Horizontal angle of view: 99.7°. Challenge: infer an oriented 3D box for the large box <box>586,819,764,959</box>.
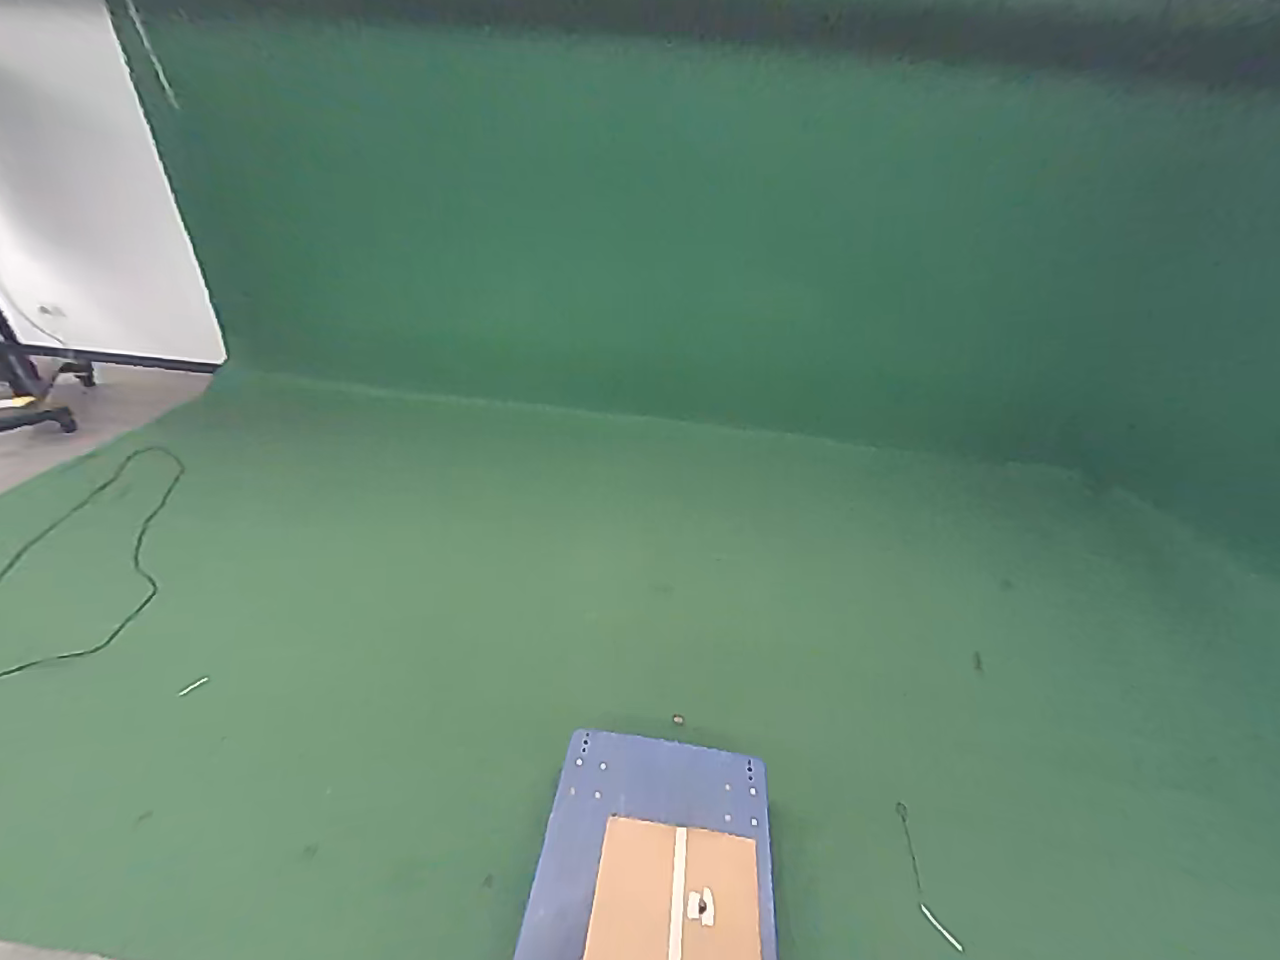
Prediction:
[{"bbox_3d":[0.056,0.951,1.023,0.320,0.320,0.408,8,31,4],"label":"large box"}]
